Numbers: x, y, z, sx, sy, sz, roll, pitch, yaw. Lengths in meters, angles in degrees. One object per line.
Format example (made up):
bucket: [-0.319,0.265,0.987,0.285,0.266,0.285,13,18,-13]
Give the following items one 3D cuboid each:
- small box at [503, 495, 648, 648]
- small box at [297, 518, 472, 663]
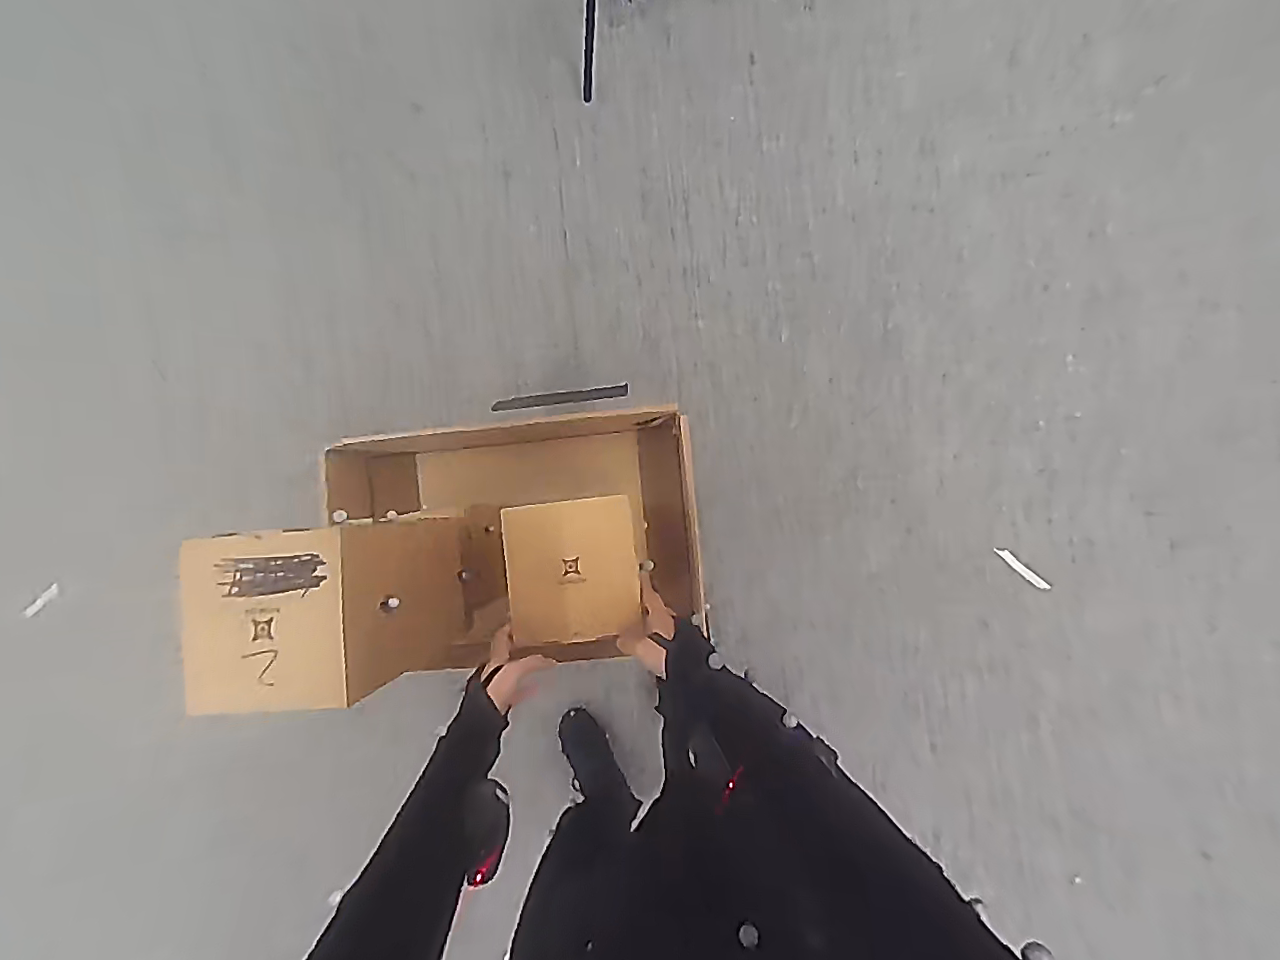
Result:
small box: [-0.080,0.118,0.750,0.168,0.176,0.179,-7,87,3]
small box: [-0.349,0.148,0.766,0.168,0.176,0.179,-5,85,5]
